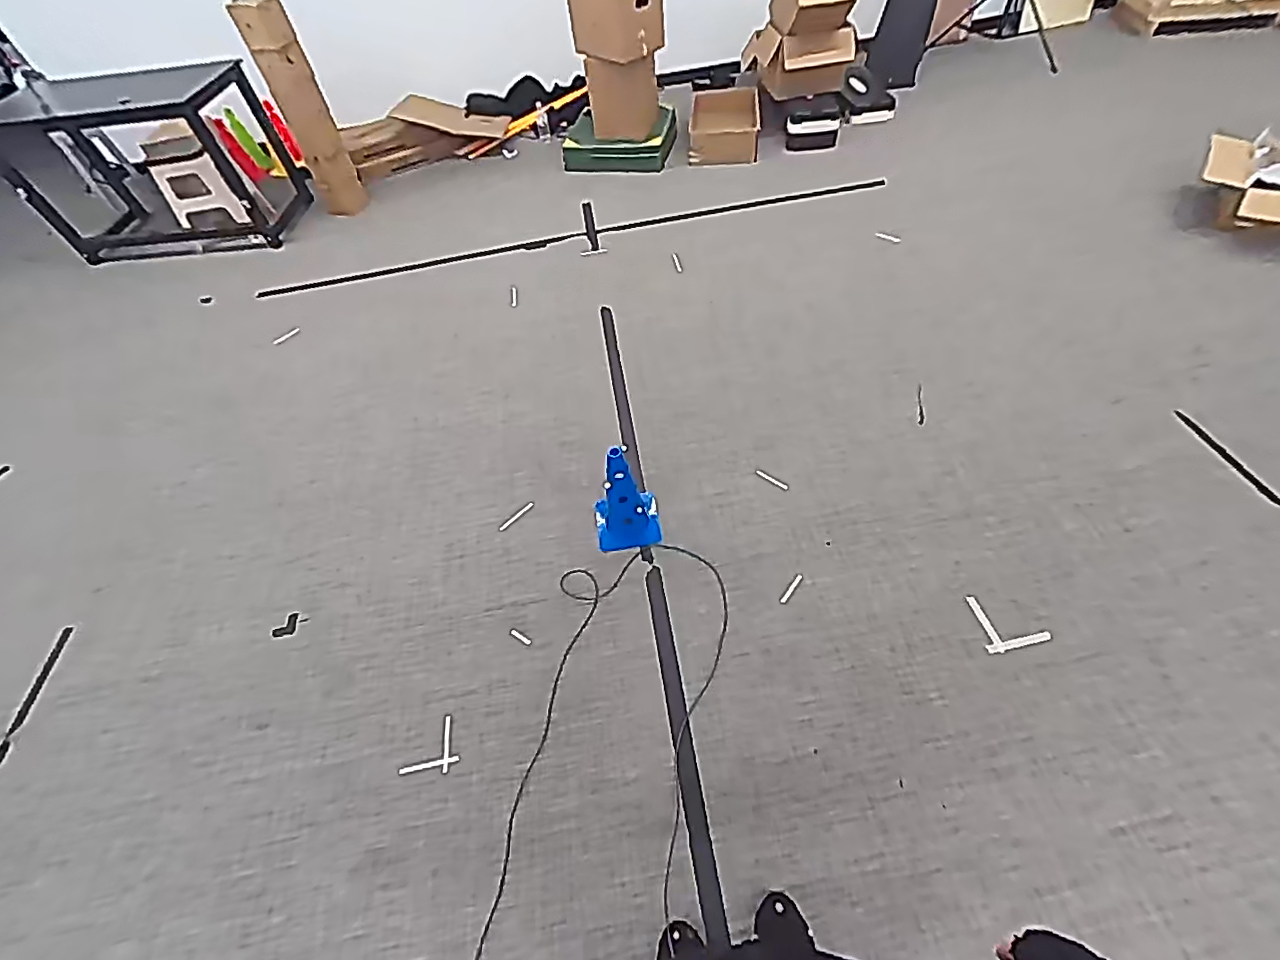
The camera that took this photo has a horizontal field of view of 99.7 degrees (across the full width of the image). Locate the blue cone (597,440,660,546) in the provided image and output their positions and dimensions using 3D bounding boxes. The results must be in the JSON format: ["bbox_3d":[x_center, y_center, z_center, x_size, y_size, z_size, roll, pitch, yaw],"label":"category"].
[{"bbox_3d":[-0.053,0.023,1.597,0.193,0.380,0.192,-11,53,-1],"label":"blue cone"}]
